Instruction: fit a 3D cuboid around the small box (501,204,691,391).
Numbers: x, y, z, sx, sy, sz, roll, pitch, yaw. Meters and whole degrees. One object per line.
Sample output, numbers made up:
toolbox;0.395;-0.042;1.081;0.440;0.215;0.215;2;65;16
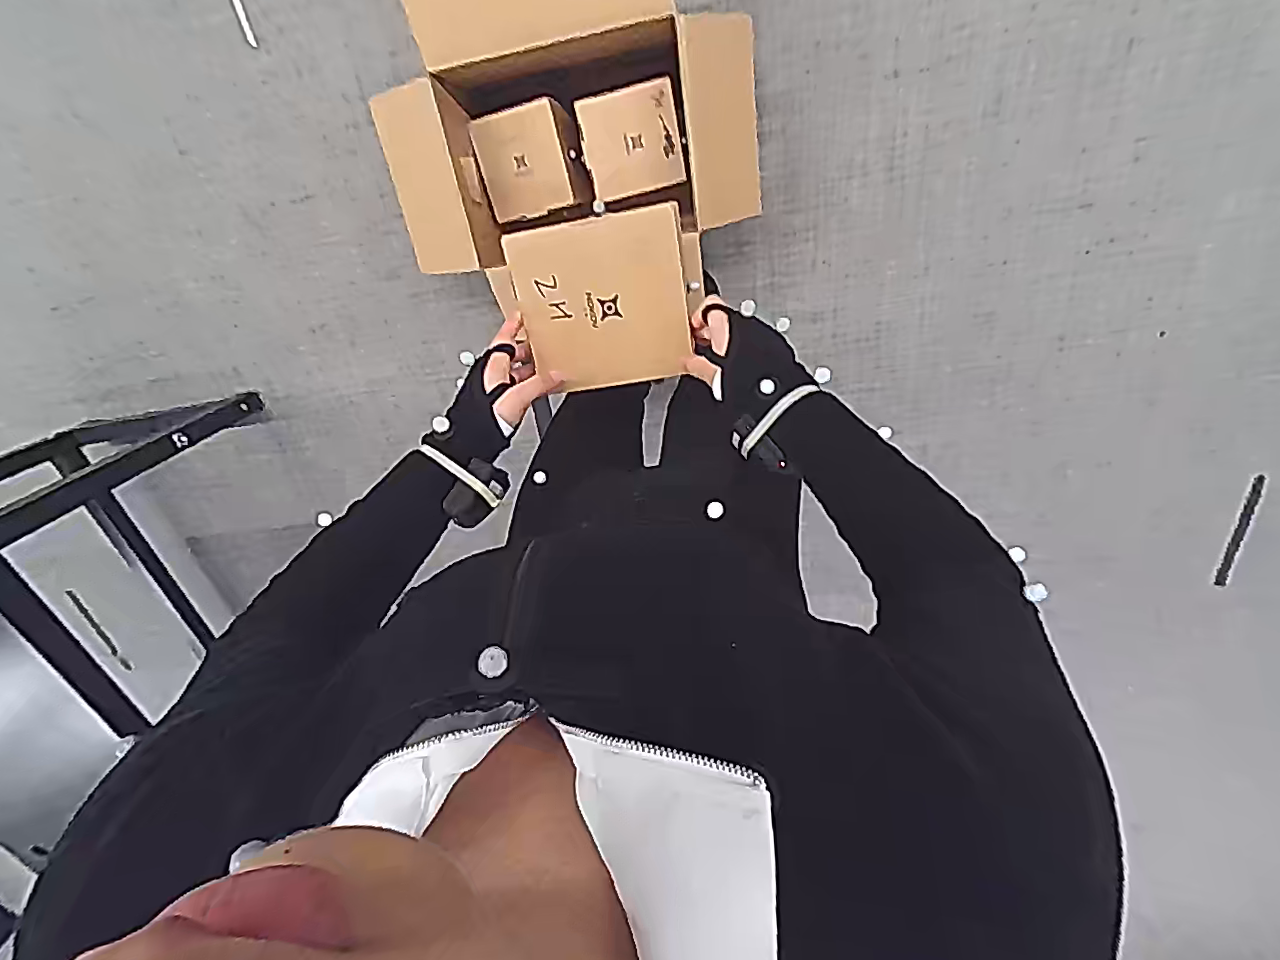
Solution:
small box;-0.037;-0.219;0.634;0.179;0.176;0.168;-7;117;9

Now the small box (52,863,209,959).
small box;-1.195;1.043;1.284;0.179;0.176;0.168;-8;118;8
